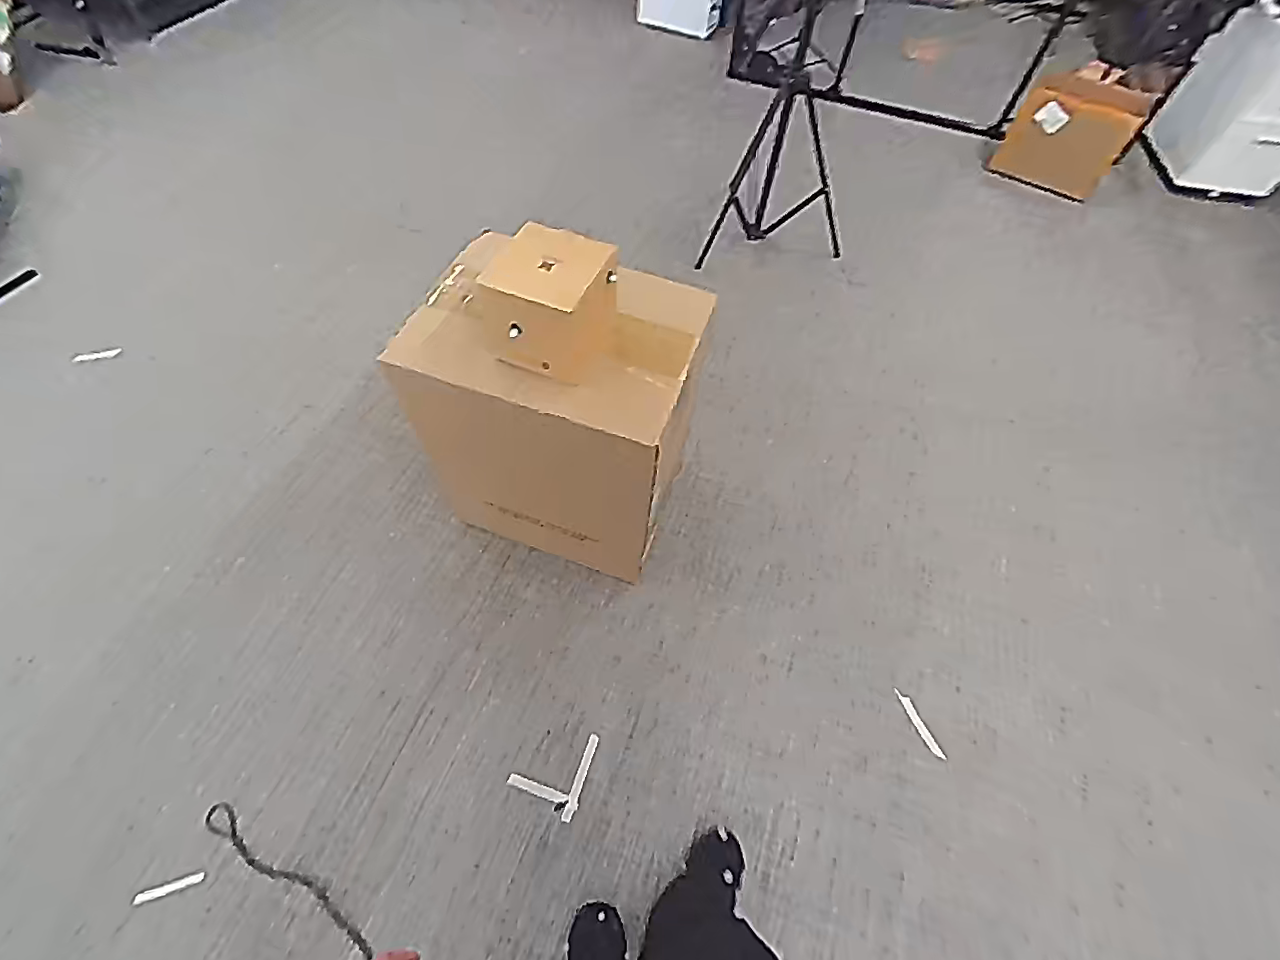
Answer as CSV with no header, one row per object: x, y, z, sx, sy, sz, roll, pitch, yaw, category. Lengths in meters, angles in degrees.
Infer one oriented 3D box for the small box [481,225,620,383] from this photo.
-0.140,-0.294,0.920,0.168,0.176,0.179,20,58,9,small box
